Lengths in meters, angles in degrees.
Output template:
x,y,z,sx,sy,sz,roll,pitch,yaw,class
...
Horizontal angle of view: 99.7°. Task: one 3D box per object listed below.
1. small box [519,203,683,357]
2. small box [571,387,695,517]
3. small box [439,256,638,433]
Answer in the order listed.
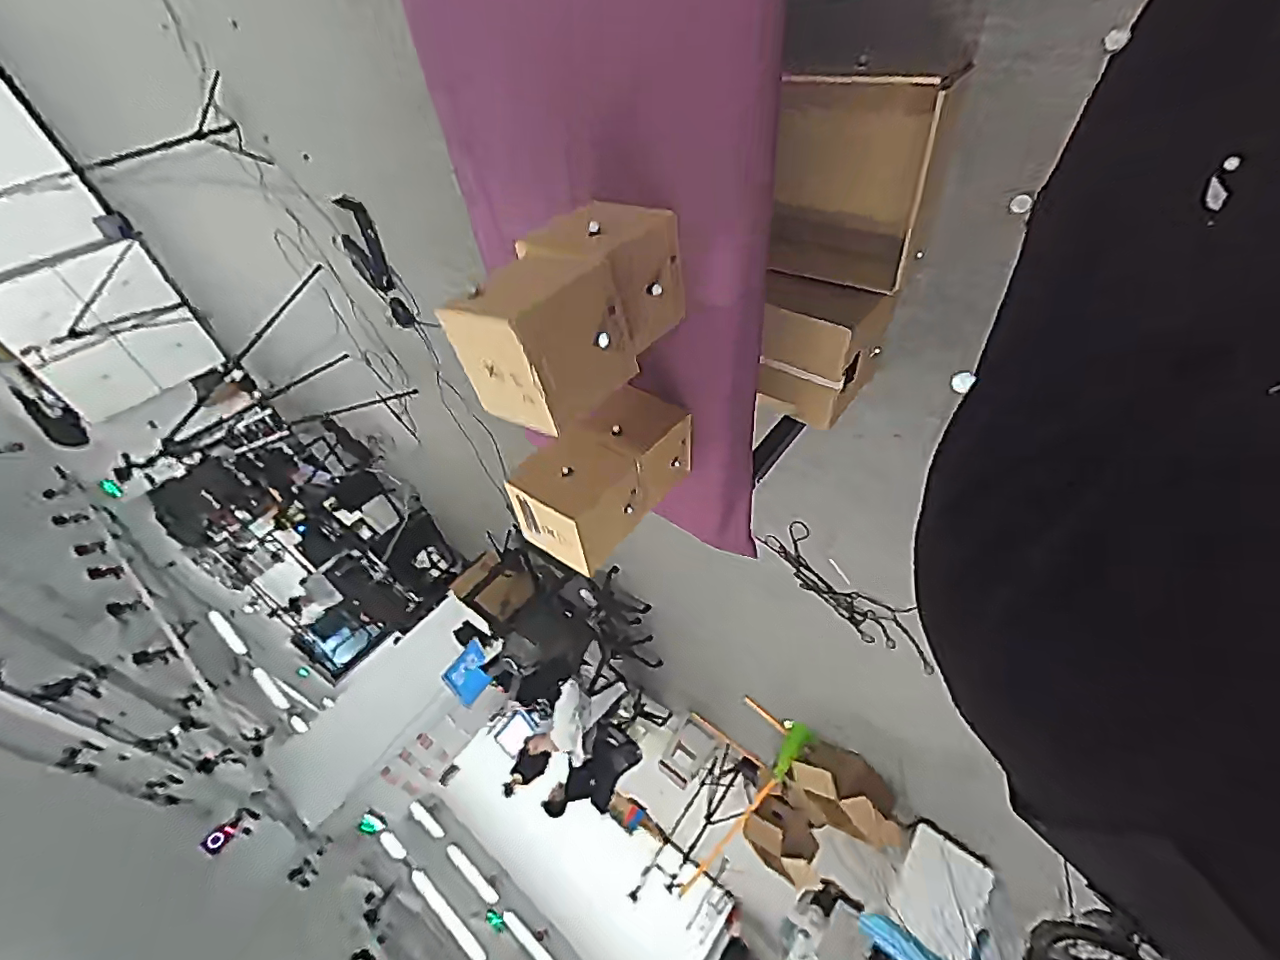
x,y,z,sx,sy,sz,roll,pitch,yaw,class
-0.047,-0.307,0.828,0.179,0.176,0.168,25,144,33,small box
-0.009,-0.064,1.085,0.179,0.176,0.168,27,145,27,small box
-0.131,-0.192,0.740,0.179,0.176,0.168,20,143,38,small box
